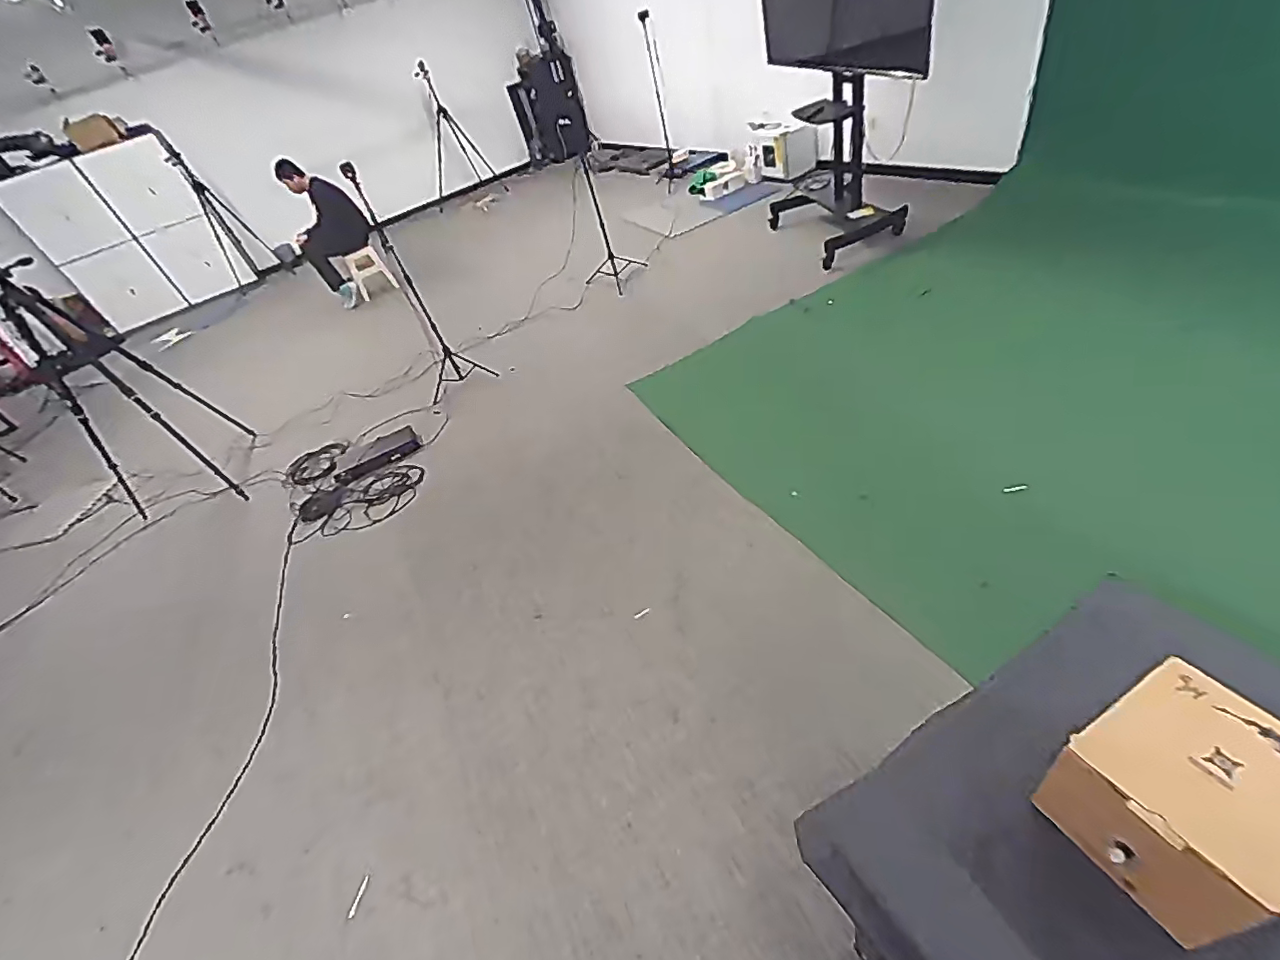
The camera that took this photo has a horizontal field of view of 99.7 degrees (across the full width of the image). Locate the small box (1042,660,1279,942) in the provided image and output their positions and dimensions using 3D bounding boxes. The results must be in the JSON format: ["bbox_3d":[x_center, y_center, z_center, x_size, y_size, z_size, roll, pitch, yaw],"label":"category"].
[{"bbox_3d":[0.565,0.335,0.568,0.179,0.176,0.168,-30,42,-12],"label":"small box"}]
